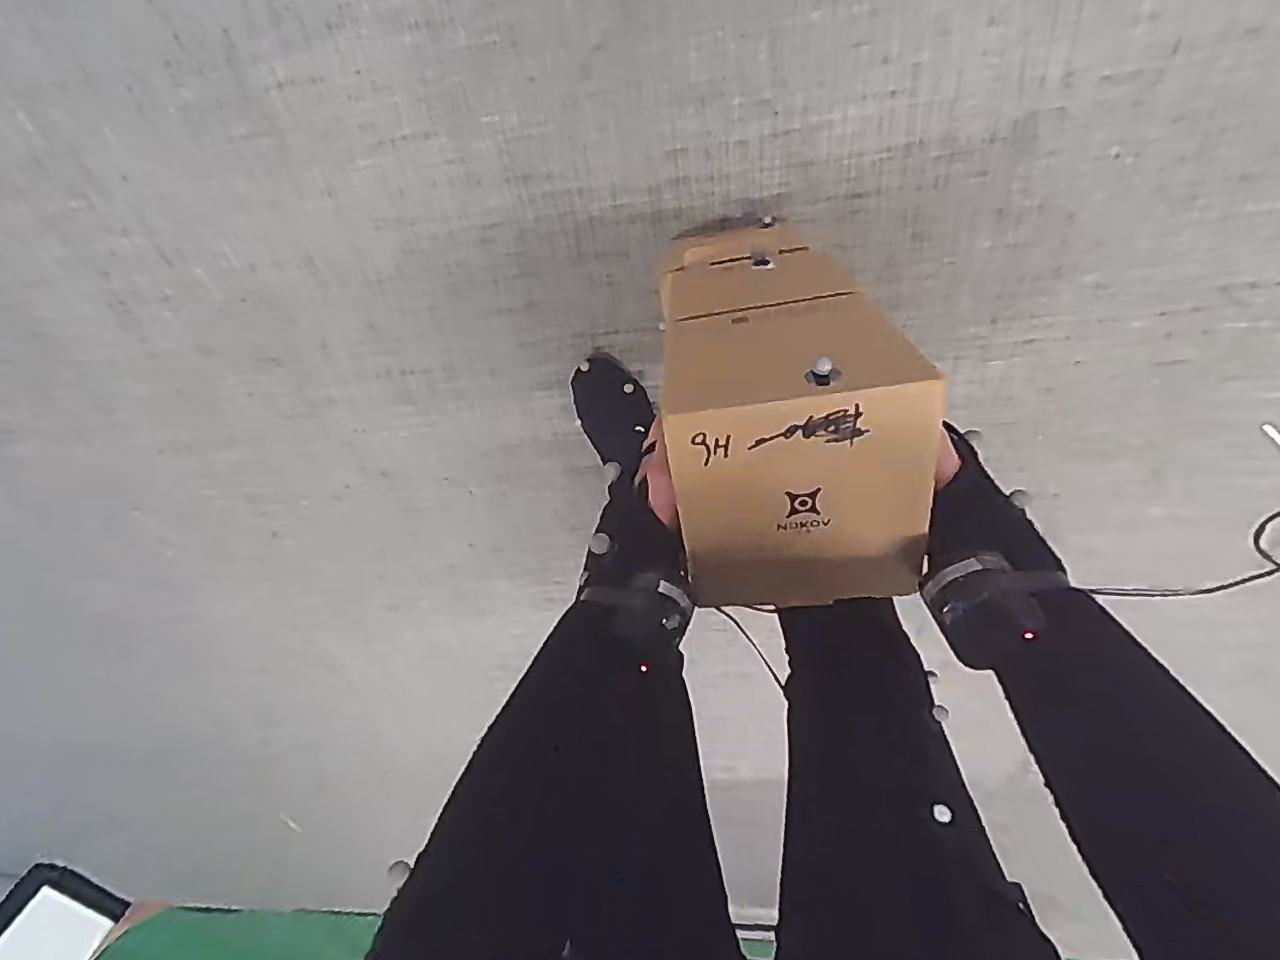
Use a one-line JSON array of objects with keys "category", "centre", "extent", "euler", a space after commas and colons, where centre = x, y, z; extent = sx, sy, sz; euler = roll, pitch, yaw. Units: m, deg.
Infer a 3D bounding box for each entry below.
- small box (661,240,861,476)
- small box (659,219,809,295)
[{"category": "small box", "centre": [0.119, -0.128, 0.557], "extent": [0.168, 0.176, 0.179], "euler": [-7, 123, 10]}, {"category": "small box", "centre": [0.121, -0.221, 0.691], "extent": [0.168, 0.176, 0.179], "euler": [-5, 125, 12]}]
